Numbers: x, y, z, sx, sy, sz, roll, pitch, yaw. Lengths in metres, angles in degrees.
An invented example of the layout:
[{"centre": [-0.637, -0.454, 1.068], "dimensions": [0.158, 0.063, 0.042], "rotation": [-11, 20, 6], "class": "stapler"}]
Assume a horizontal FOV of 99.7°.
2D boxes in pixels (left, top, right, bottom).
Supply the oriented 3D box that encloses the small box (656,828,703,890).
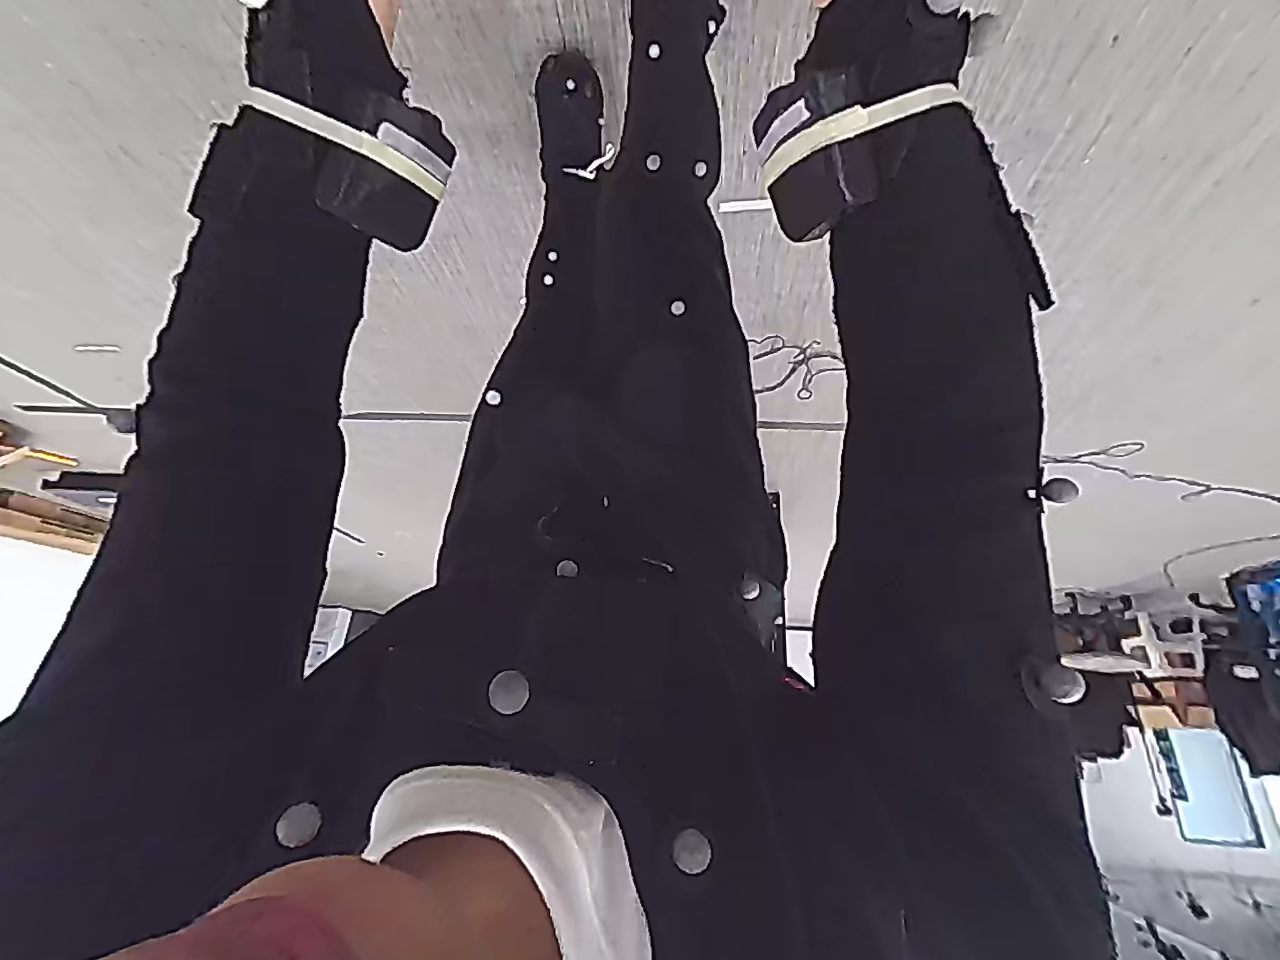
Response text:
[{"centre": [0.159, 1.504, 2.157], "dimensions": [0.168, 0.176, 0.179], "rotation": [-1, 157, 13], "class": "small box"}]
